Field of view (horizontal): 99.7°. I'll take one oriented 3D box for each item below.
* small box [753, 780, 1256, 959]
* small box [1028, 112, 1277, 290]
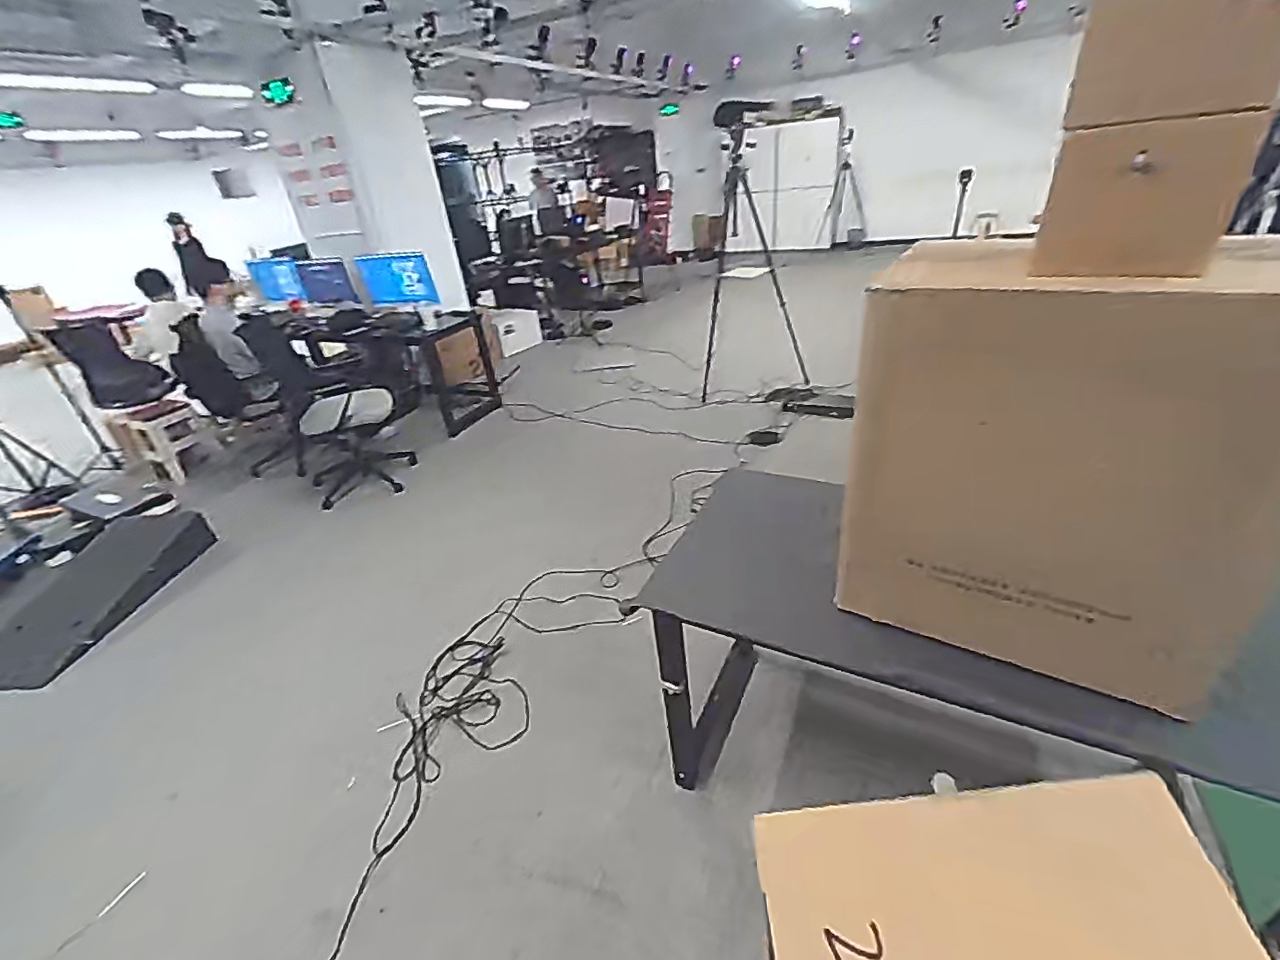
[{"bbox_3d":[0.165,0.258,0.255,0.179,0.176,0.168,-15,47,12],"label":"small box"},{"bbox_3d":[0.616,-0.343,0.675,0.179,0.176,0.168,14,38,32],"label":"small box"}]
